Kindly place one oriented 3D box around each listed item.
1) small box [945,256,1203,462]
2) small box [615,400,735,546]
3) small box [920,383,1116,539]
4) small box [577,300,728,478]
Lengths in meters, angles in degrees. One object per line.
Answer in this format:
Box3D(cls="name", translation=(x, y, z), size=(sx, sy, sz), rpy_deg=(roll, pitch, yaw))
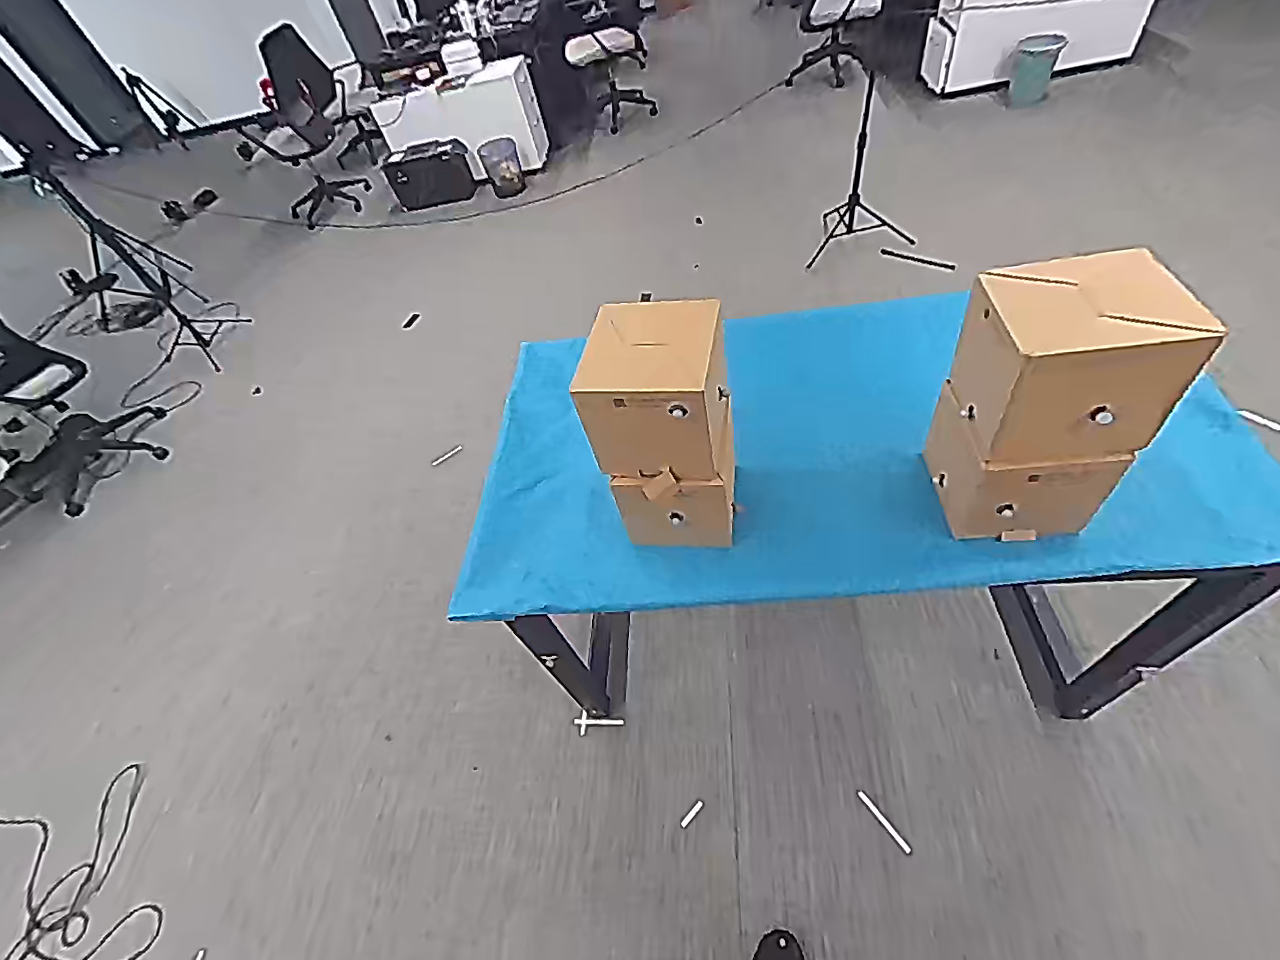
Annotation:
Box3D(cls="small box", translation=(0.499, -0.145, 0.650), size=(0.179, 0.176, 0.168), rpy_deg=(-5, 49, 13))
Box3D(cls="small box", translation=(0.064, -0.012, 0.863), size=(0.168, 0.176, 0.179), rpy_deg=(0, 52, 13))
Box3D(cls="small box", translation=(0.524, -0.038, 0.772), size=(0.168, 0.176, 0.179), rpy_deg=(-5, 50, 10))
Box3D(cls="small box", translation=(0.026, -0.122, 0.746), size=(0.168, 0.176, 0.179), rpy_deg=(3, 54, 15))
